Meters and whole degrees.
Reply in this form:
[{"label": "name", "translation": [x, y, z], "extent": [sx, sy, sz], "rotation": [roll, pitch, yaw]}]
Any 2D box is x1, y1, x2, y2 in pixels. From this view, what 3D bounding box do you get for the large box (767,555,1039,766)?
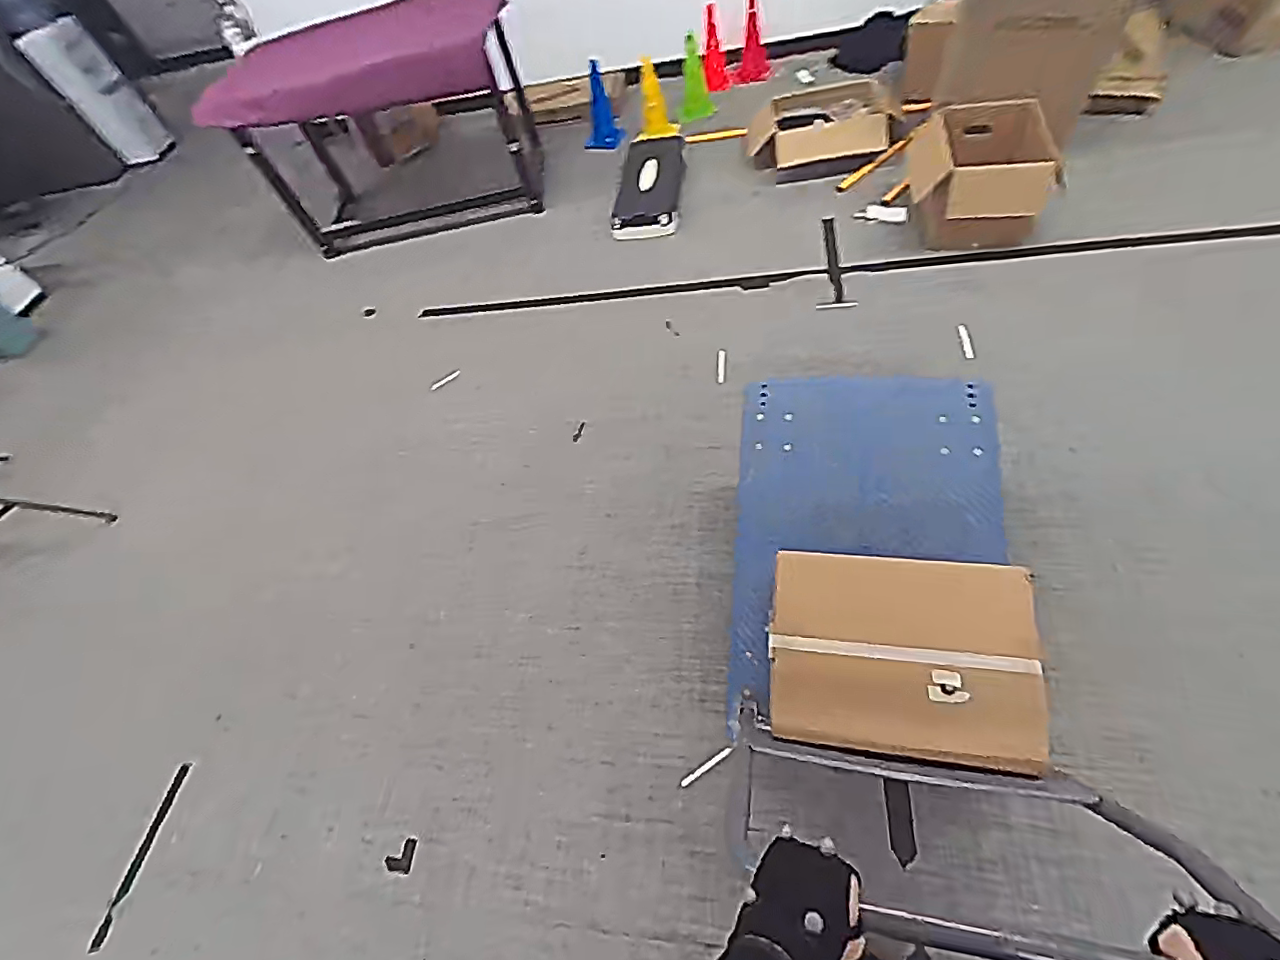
[{"label": "large box", "translation": [0.458, 0.333, 1.049], "extent": [0.408, 0.320, 0.320], "rotation": [2, 74, 12]}]
